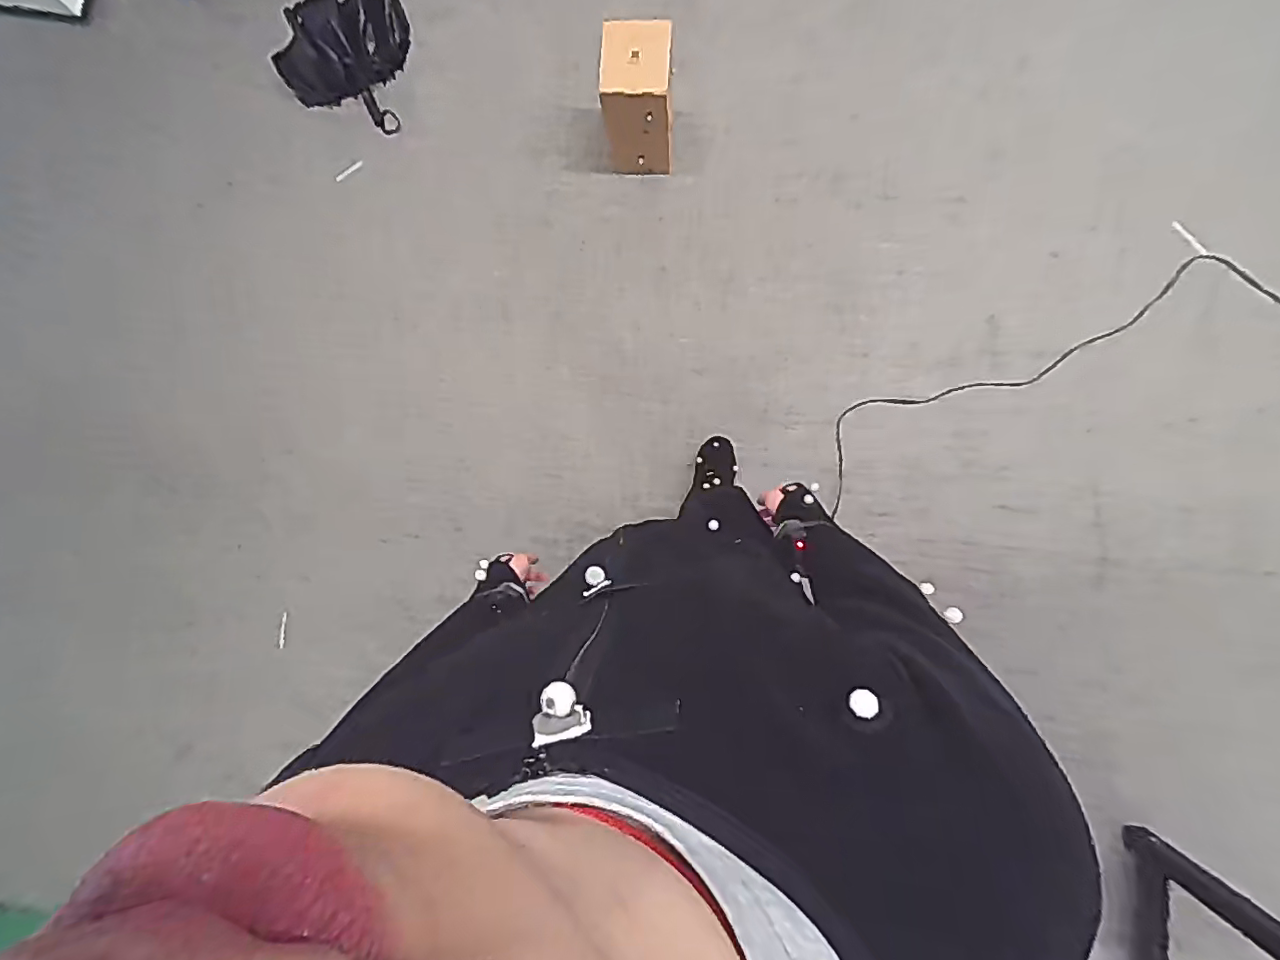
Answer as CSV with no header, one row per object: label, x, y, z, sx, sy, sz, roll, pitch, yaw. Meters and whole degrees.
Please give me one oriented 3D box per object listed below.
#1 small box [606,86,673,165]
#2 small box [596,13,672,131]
small box,0.004,-0.997,1.494,0.168,0.176,0.179,2,91,5
small box,-0.009,-0.995,1.332,0.168,0.176,0.179,3,89,4
